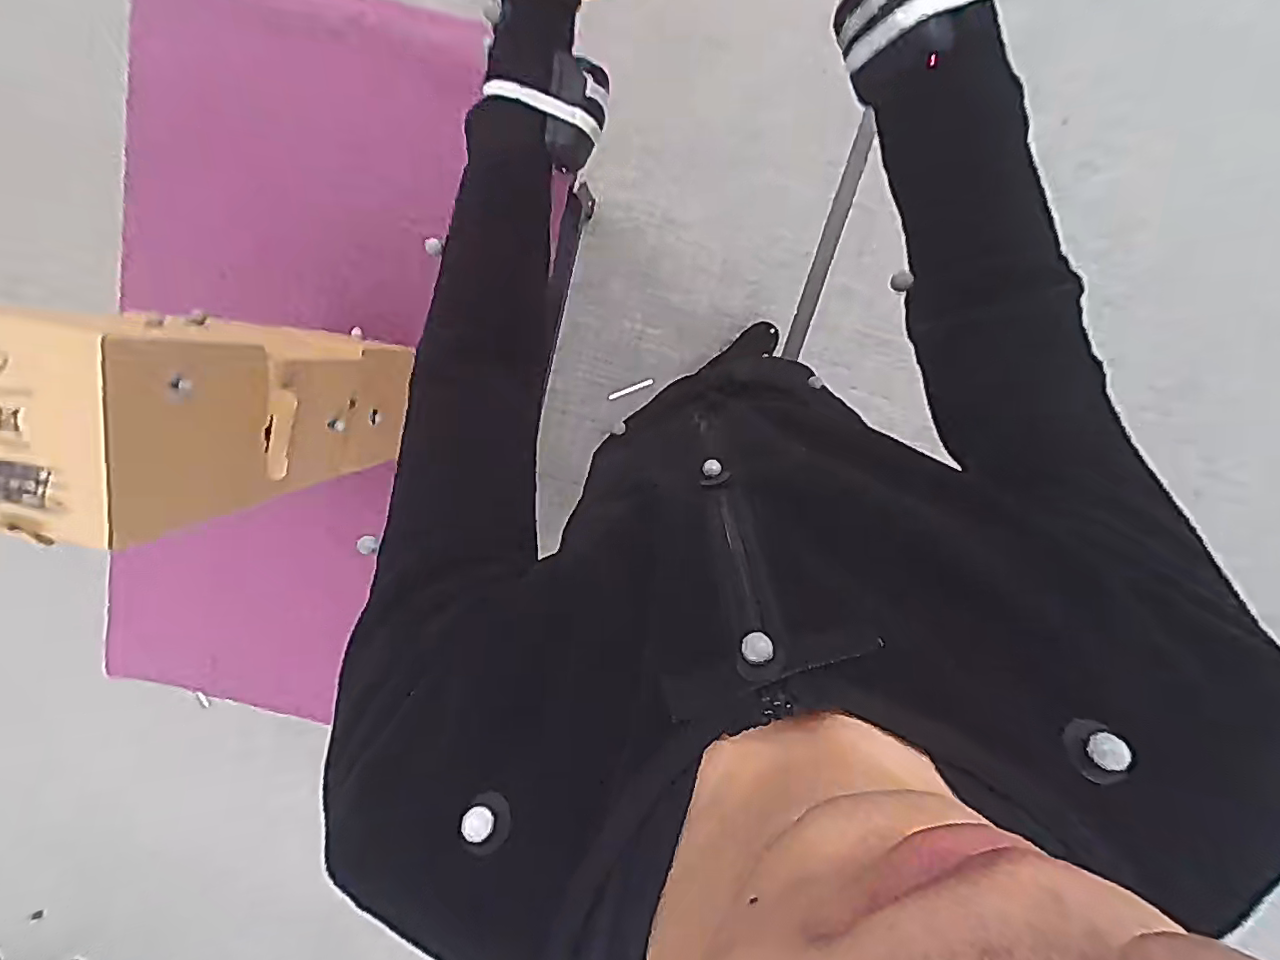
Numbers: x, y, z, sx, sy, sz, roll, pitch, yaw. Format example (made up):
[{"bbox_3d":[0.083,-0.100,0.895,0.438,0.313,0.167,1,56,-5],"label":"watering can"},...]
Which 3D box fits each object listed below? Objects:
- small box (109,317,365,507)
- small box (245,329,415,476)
[{"bbox_3d":[-0.473,-0.085,0.655,0.179,0.176,0.168,17,103,0],"label":"small box"},{"bbox_3d":[-0.459,-0.120,0.815,0.168,0.176,0.179,11,102,1],"label":"small box"}]
